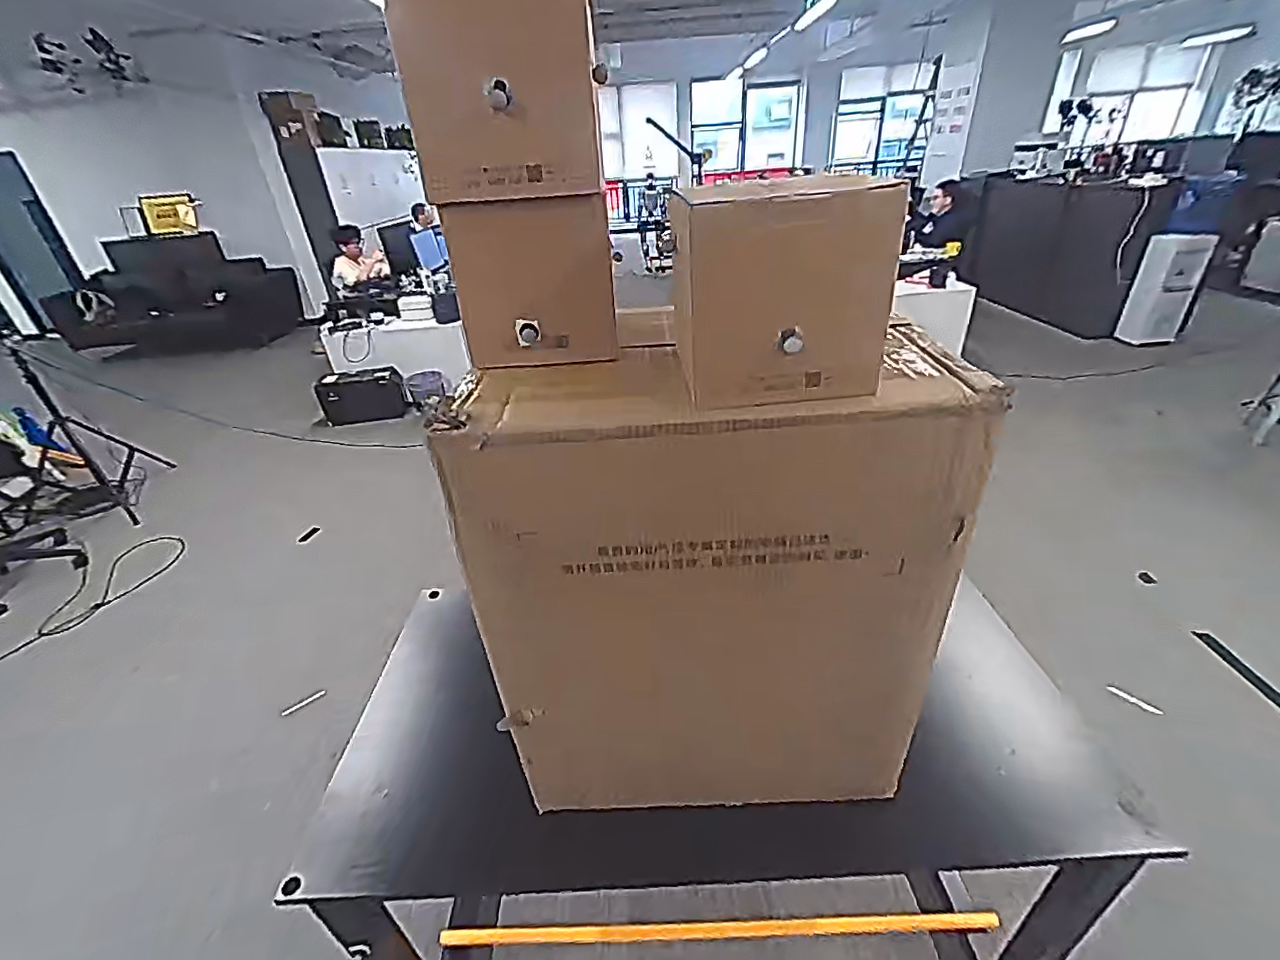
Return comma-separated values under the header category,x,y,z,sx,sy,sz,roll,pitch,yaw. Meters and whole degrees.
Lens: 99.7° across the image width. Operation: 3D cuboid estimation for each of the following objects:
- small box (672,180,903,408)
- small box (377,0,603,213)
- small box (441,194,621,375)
category,x,y,z,sx,sy,sz,roll,pitch,yaw
small box,0.120,-0.181,0.515,0.168,0.176,0.179,-6,32,1
small box,-0.126,-0.366,0.539,0.168,0.176,0.179,-5,31,-1
small box,-0.113,-0.233,0.635,0.168,0.176,0.179,-6,31,-2
